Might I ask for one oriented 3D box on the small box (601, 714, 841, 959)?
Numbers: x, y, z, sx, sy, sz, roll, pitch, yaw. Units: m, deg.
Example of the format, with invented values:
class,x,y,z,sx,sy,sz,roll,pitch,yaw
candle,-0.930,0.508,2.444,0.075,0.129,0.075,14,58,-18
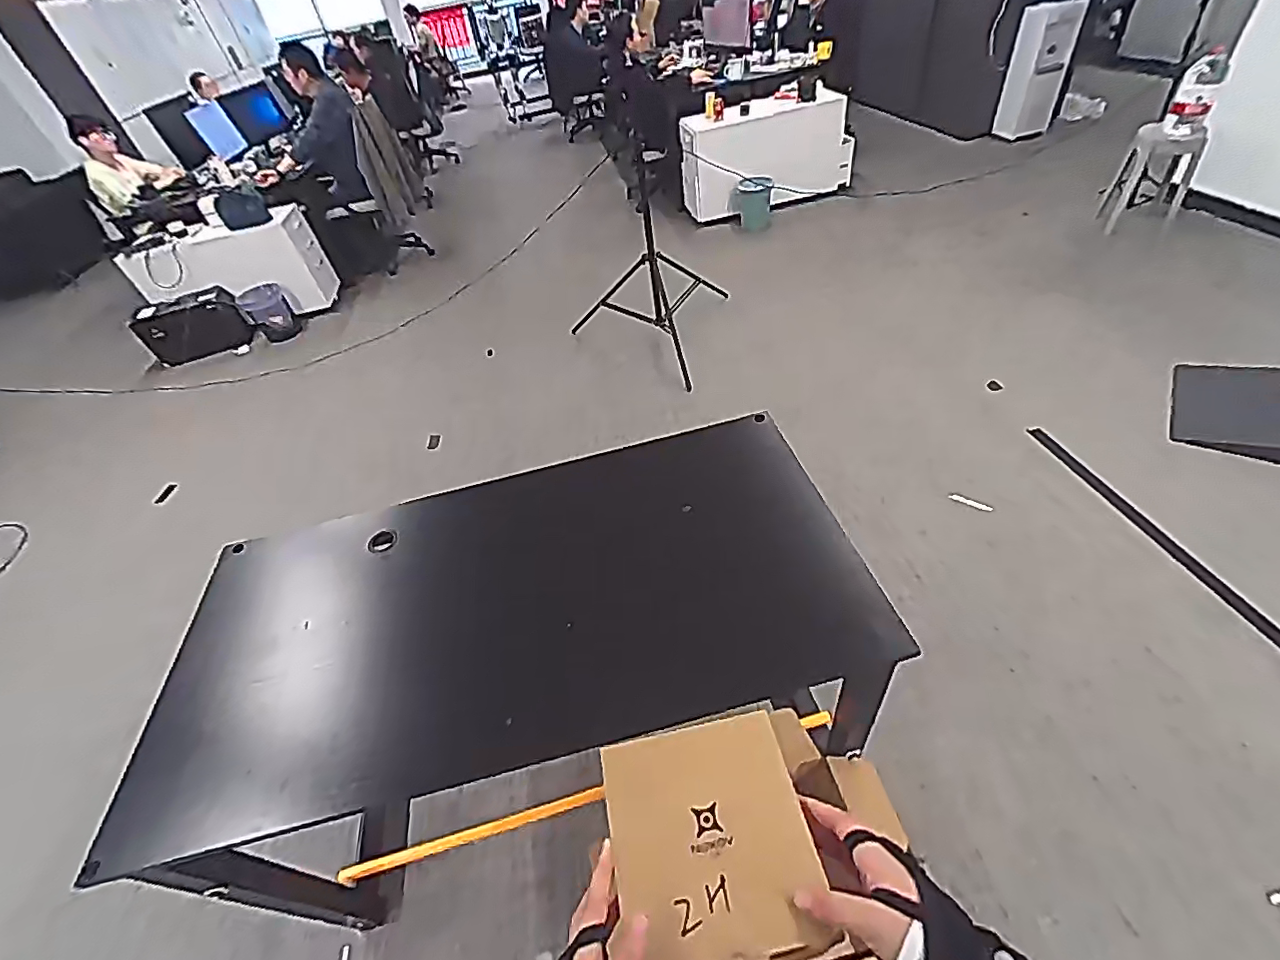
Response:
class,x,y,z,sx,sy,sz,roll,pitch,yaw
small box,0.063,0.353,0.508,0.168,0.176,0.179,-12,44,-3
